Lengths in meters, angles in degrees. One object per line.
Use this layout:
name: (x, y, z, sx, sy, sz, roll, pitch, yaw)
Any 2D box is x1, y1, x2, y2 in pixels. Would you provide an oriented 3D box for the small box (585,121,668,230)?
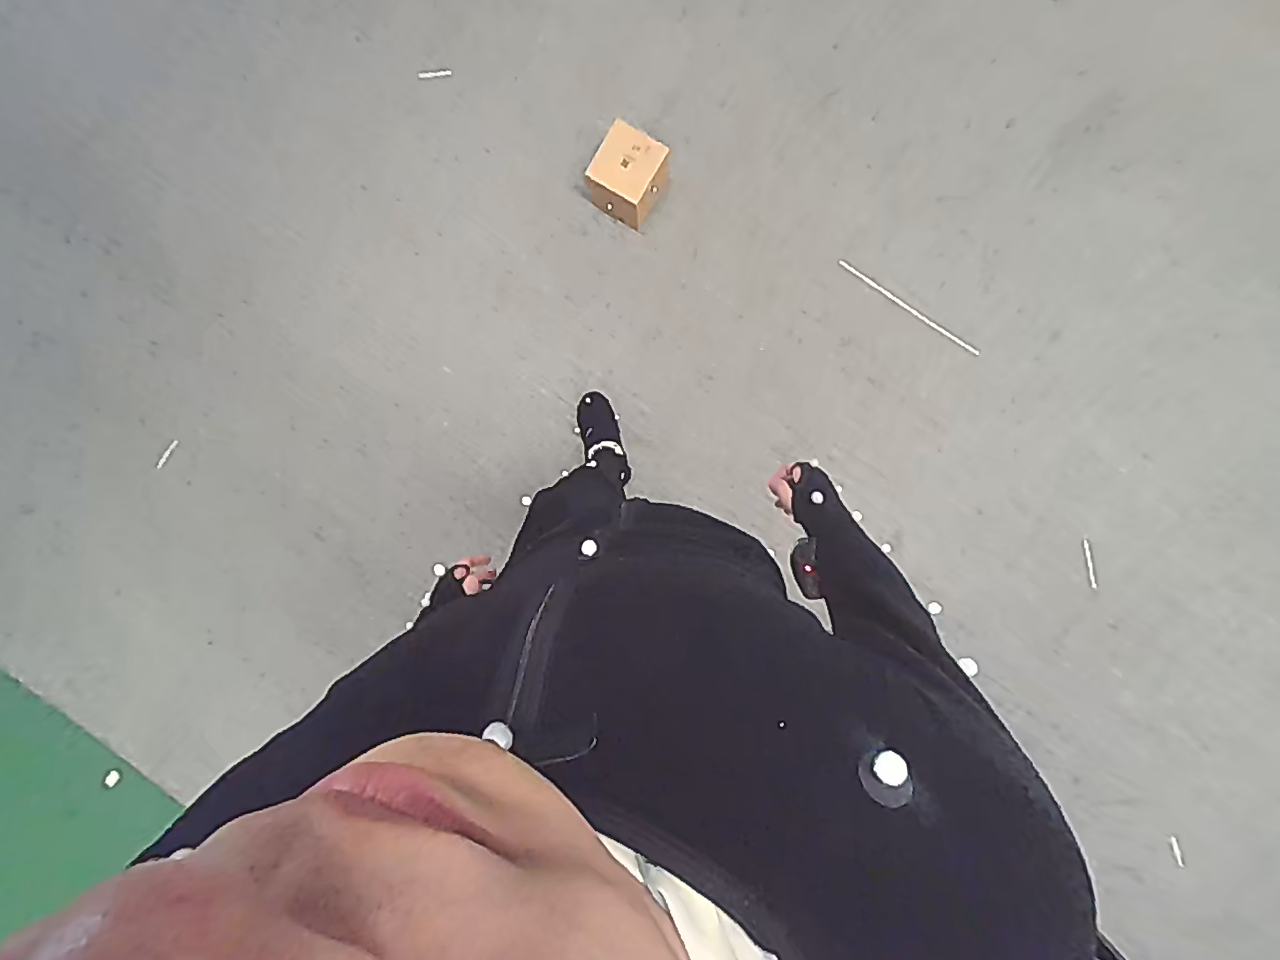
small box: (-0.032, -0.840, 1.513, 0.168, 0.176, 0.179, 31, 92, 1)
